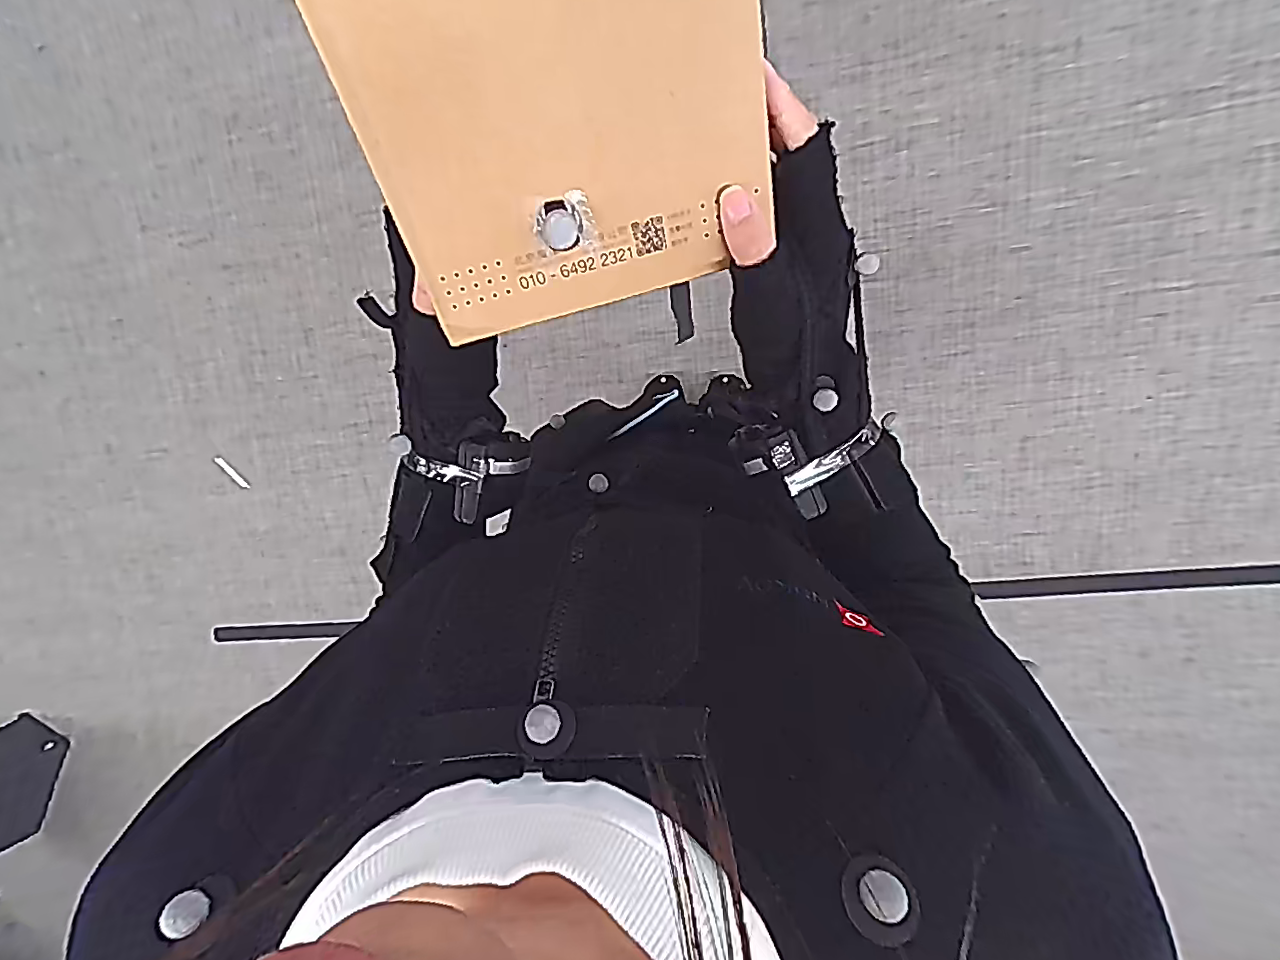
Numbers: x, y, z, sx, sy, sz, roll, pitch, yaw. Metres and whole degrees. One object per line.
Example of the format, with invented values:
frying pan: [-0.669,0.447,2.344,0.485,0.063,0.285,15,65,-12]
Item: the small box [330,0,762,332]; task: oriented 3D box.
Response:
small box: [-0.044,-0.201,0.297,0.168,0.179,0.176,-17,126,-2]
